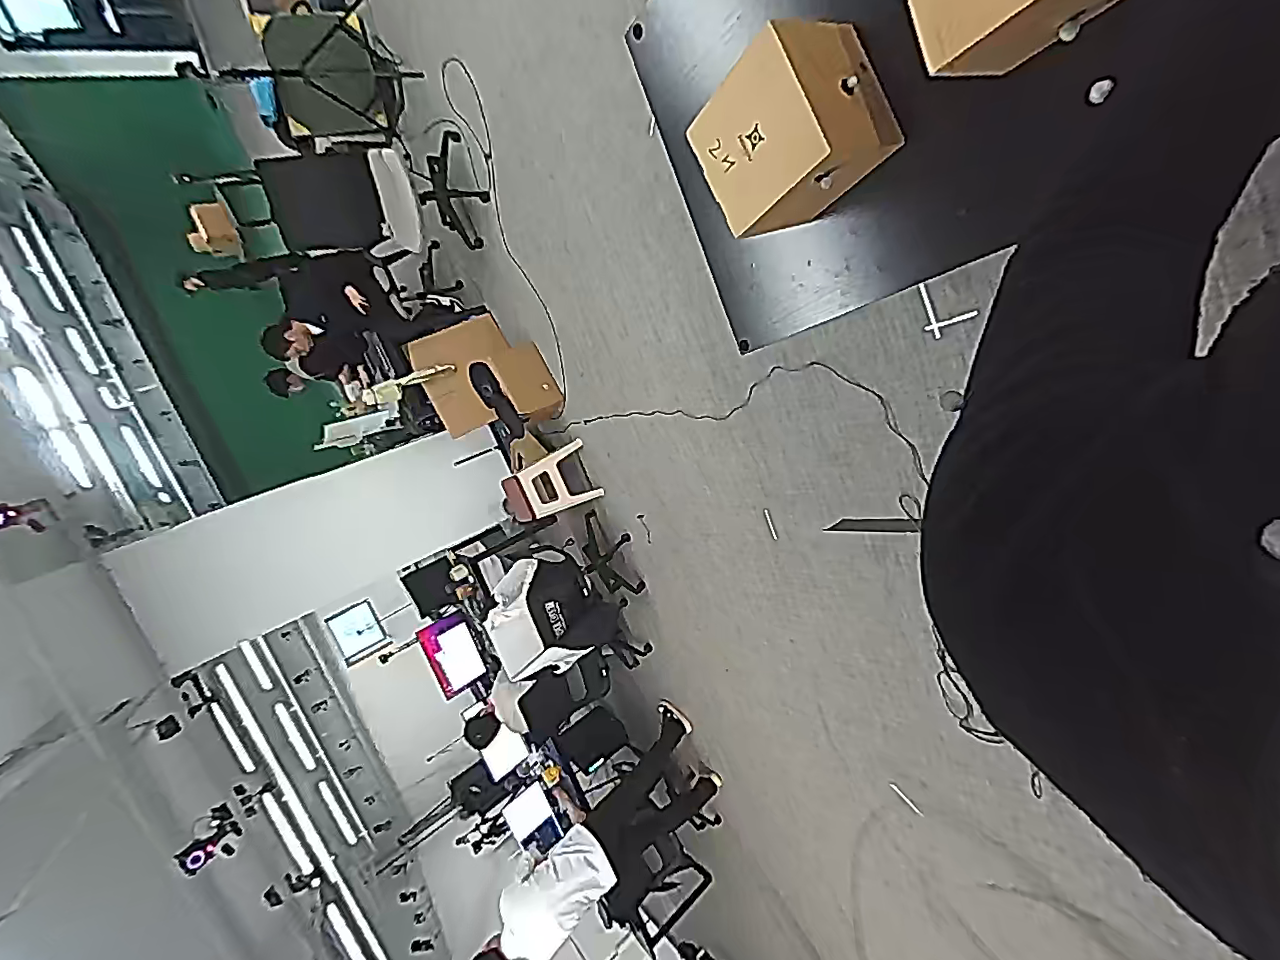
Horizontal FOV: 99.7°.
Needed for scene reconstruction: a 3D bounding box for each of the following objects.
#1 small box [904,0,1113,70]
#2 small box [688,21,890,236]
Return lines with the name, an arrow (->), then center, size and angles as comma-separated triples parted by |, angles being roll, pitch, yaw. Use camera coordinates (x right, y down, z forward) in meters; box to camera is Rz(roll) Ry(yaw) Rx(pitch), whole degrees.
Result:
small box -> 0.346, -0.503, 0.476 | 0.168, 0.176, 0.179 | -7, 108, 59
small box -> 0.203, -0.463, 0.724 | 0.179, 0.176, 0.168 | -22, 94, 60
